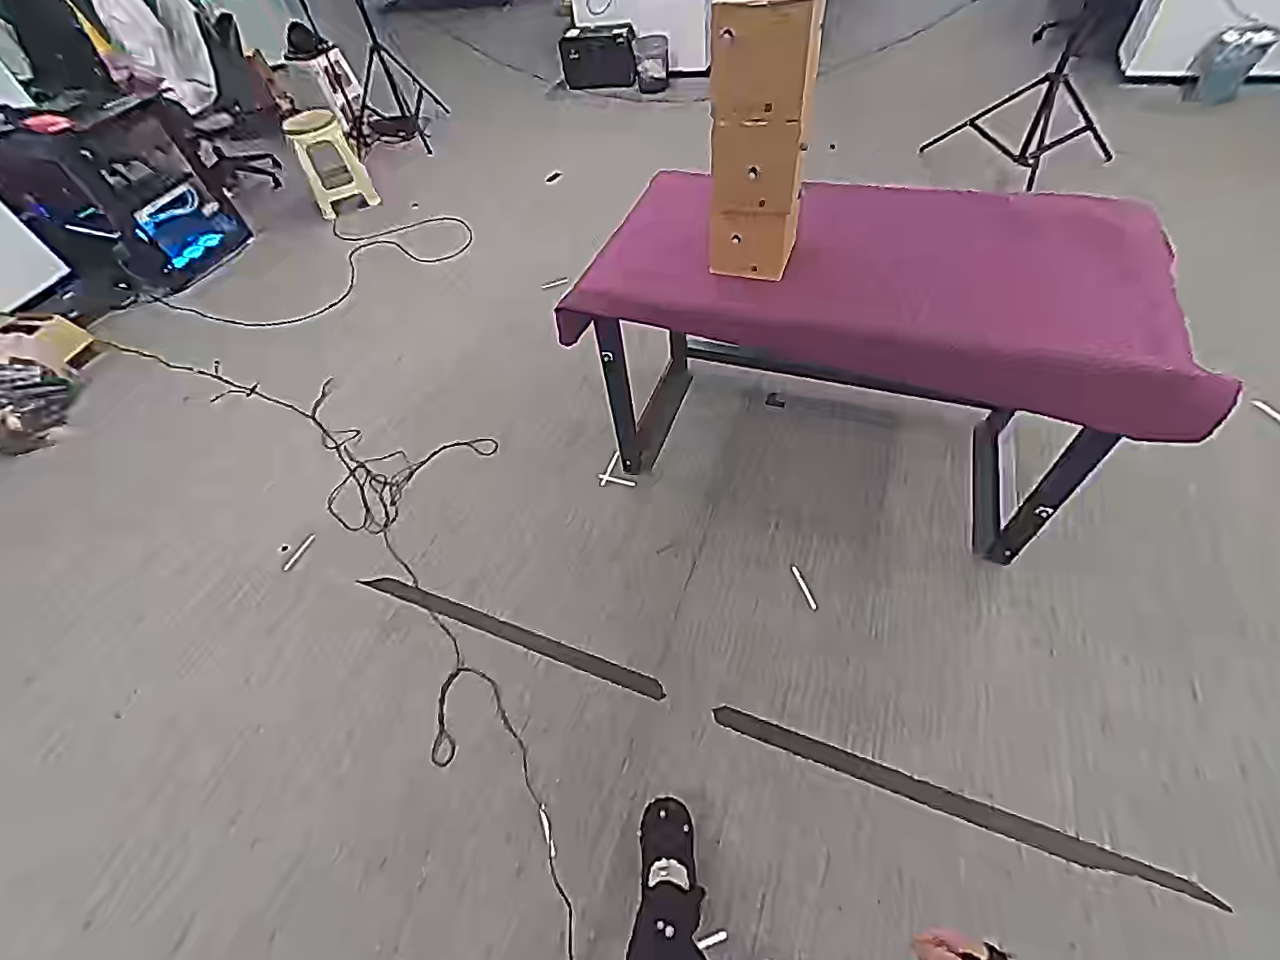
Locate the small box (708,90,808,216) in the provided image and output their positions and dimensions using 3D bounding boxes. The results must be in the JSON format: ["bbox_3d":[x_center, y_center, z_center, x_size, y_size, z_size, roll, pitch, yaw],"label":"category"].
[{"bbox_3d":[0.237,-0.656,1.091,0.168,0.176,0.179,10,55,14],"label":"small box"}]

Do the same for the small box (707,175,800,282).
[{"bbox_3d":[0.258,-0.575,1.234,0.168,0.176,0.179,13,56,17],"label":"small box"}]
